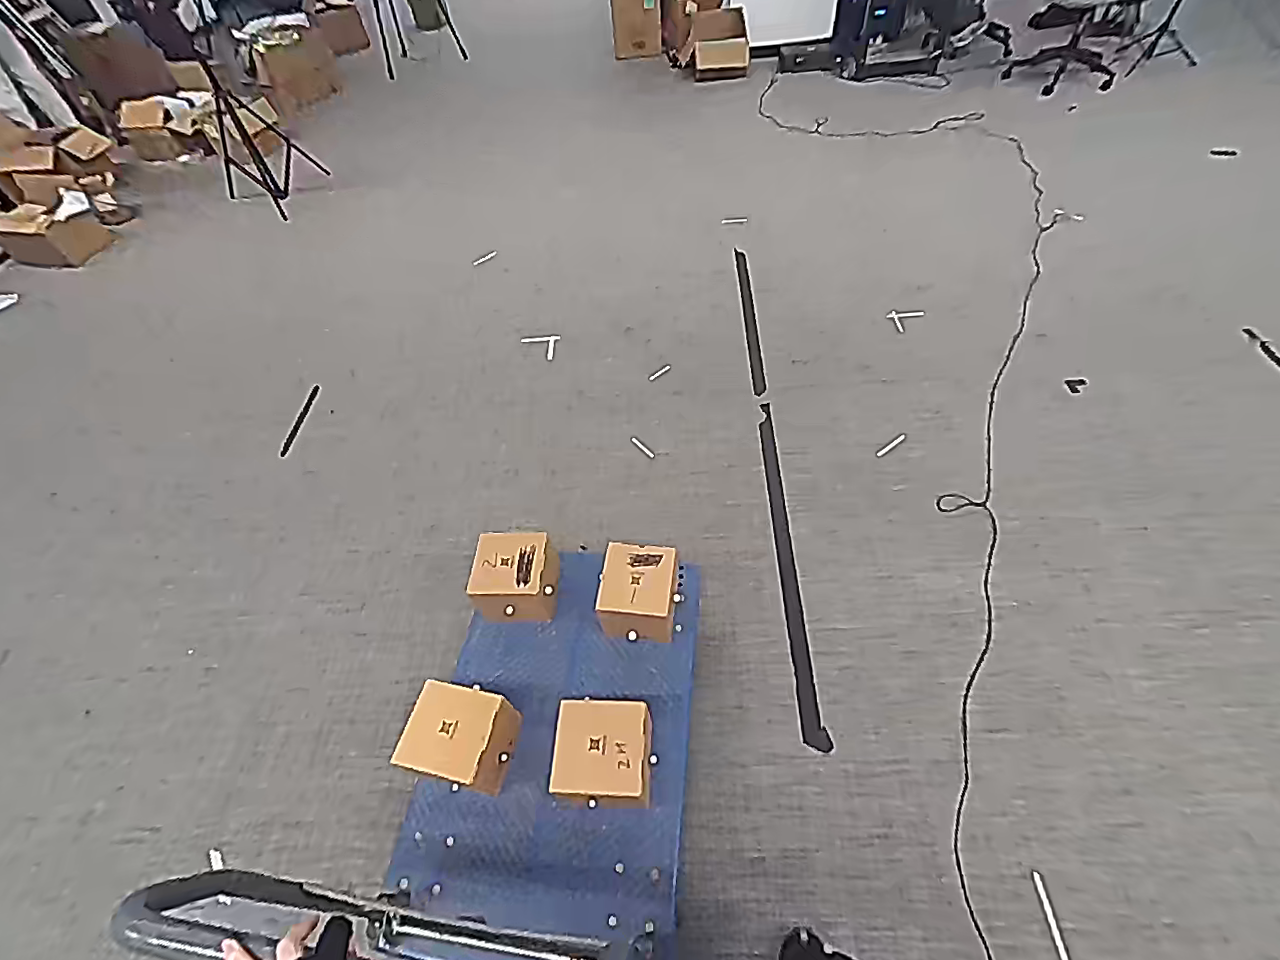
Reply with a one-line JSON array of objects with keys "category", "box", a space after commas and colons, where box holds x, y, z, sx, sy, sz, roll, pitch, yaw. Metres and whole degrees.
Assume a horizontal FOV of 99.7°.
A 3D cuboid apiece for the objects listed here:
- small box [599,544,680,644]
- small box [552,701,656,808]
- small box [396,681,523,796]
[{"category": "small box", "box": [0.007, 0.276, 1.304, 0.168, 0.176, 0.179, 4, 54, 9]}, {"category": "small box", "box": [-0.064, 0.559, 1.096, 0.179, 0.176, 0.168, -1, 53, 6]}, {"category": "small box", "box": [-0.369, 0.548, 1.141, 0.179, 0.176, 0.168, 9, 53, 10]}]
